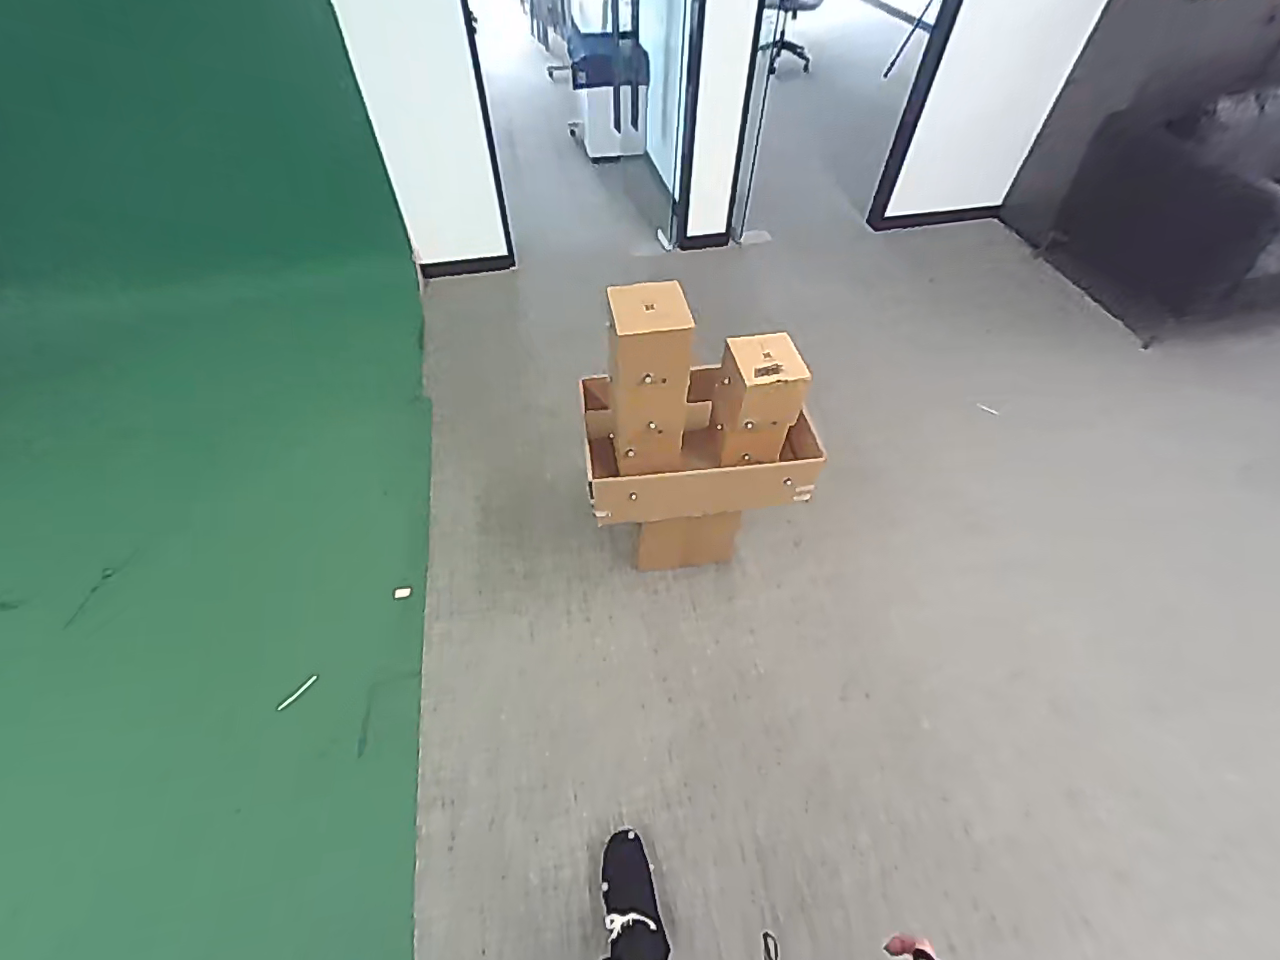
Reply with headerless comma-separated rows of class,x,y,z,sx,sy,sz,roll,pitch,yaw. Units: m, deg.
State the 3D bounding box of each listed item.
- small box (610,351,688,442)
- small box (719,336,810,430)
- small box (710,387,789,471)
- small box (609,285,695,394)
small box,0.016,-0.218,1.355,0.168,0.176,0.179,-7,52,-7
small box,0.310,-0.242,1.384,0.168,0.176,0.179,-7,52,-8
small box,0.297,-0.145,1.516,0.168,0.176,0.179,-4,53,-5
small box,0.020,-0.318,1.226,0.168,0.176,0.179,-7,52,-6
